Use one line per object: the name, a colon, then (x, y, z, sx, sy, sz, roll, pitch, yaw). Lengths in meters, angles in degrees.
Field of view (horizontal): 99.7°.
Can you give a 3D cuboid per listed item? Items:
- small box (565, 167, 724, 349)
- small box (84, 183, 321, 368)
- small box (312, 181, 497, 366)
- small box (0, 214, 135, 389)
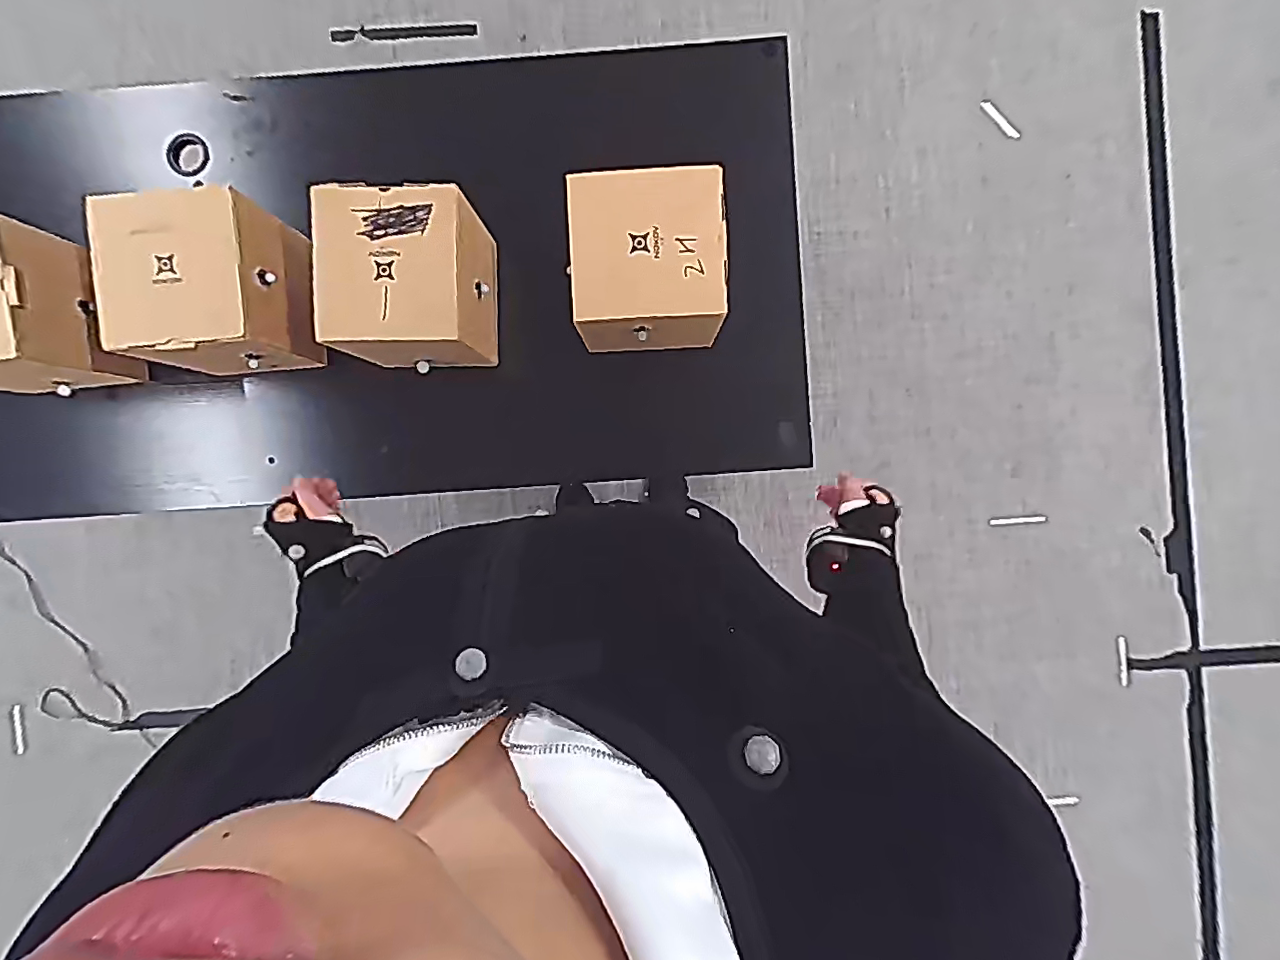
small box: (0.007, -0.266, 0.684, 0.179, 0.176, 0.168, -2, 92, 0)
small box: (-0.534, -0.243, 0.686, 0.168, 0.176, 0.179, -5, 91, -1)
small box: (-0.284, -0.248, 0.684, 0.168, 0.176, 0.179, 0, 92, 0)
small box: (-0.794, -0.214, 0.685, 0.179, 0.176, 0.168, -6, 91, -1)
